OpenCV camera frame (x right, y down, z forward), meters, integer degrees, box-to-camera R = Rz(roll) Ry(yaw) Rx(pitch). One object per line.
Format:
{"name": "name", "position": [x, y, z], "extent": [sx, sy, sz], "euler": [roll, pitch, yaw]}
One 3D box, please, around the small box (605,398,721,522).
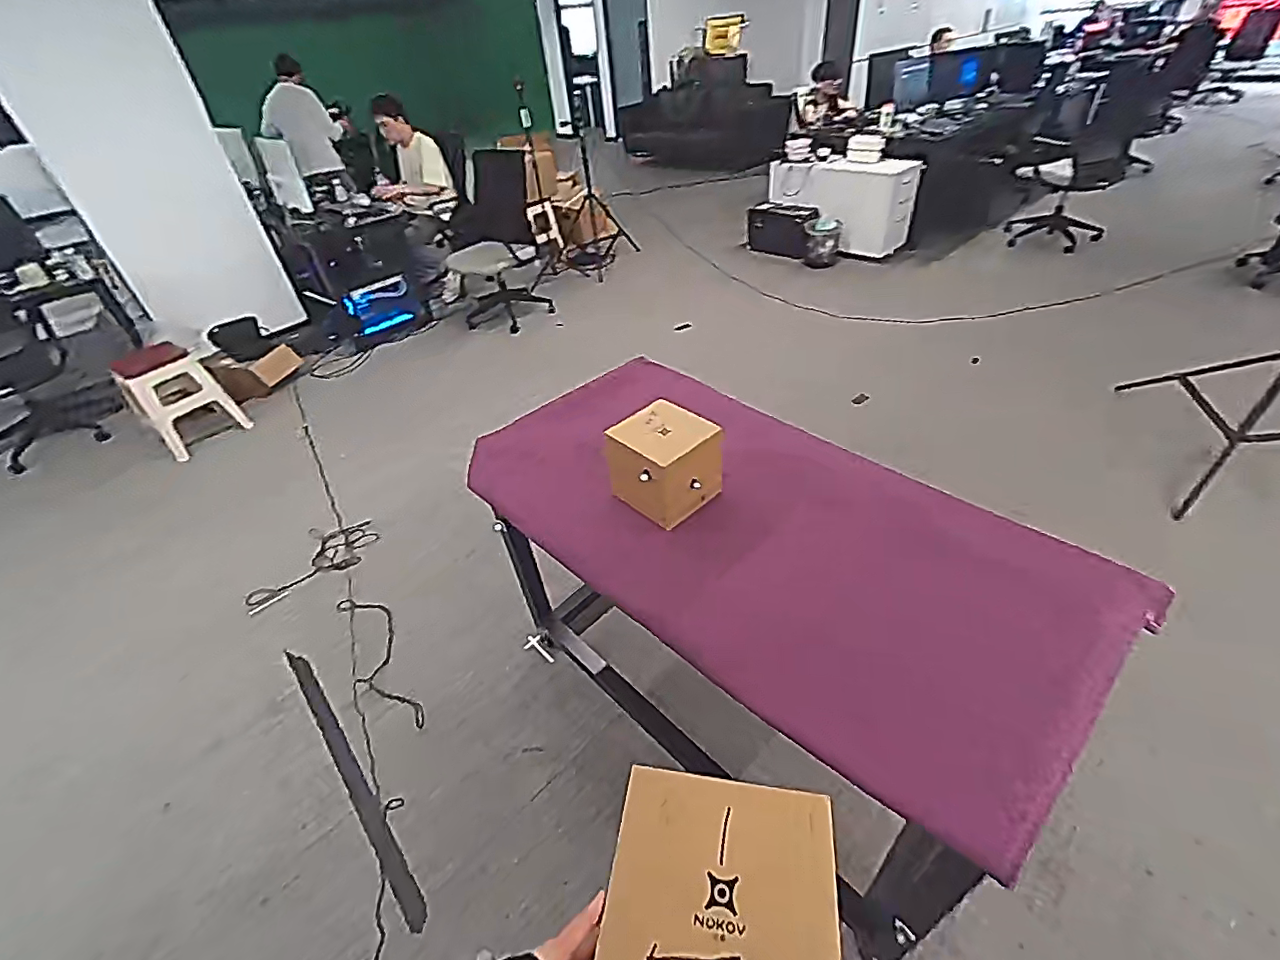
{"name": "small box", "position": [0.052, -0.038, 1.120], "extent": [0.168, 0.176, 0.179], "euler": [-34, 47, -29]}

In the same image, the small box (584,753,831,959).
{"name": "small box", "position": [0.061, 0.358, 0.439], "extent": [0.168, 0.176, 0.179], "euler": [3, 39, 12]}
